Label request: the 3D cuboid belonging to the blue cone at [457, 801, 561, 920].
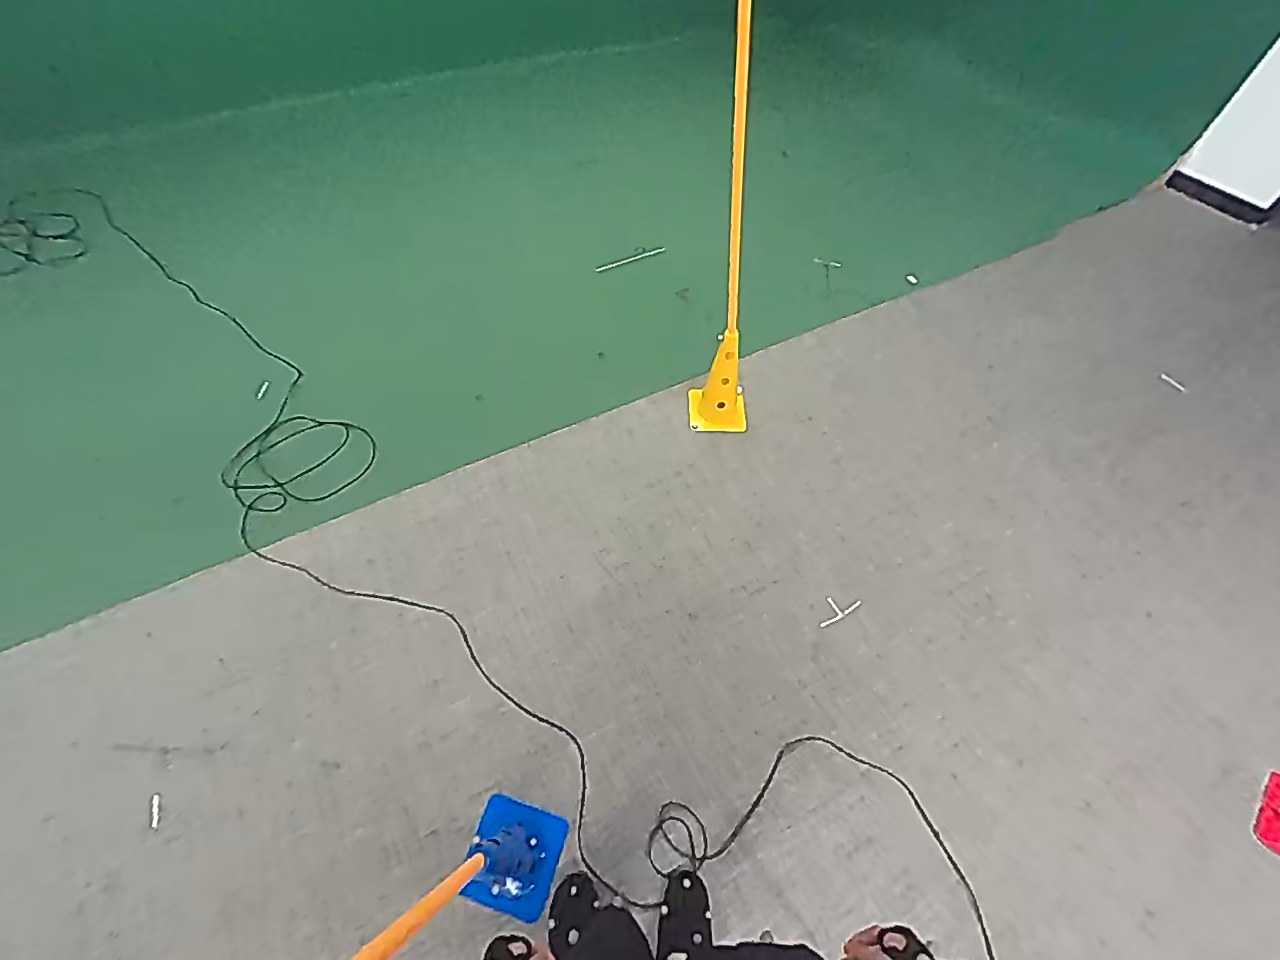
[{"bbox_3d":[-0.275,0.736,1.039,0.192,0.380,0.193,14,58,8],"label":"blue cone"}]
